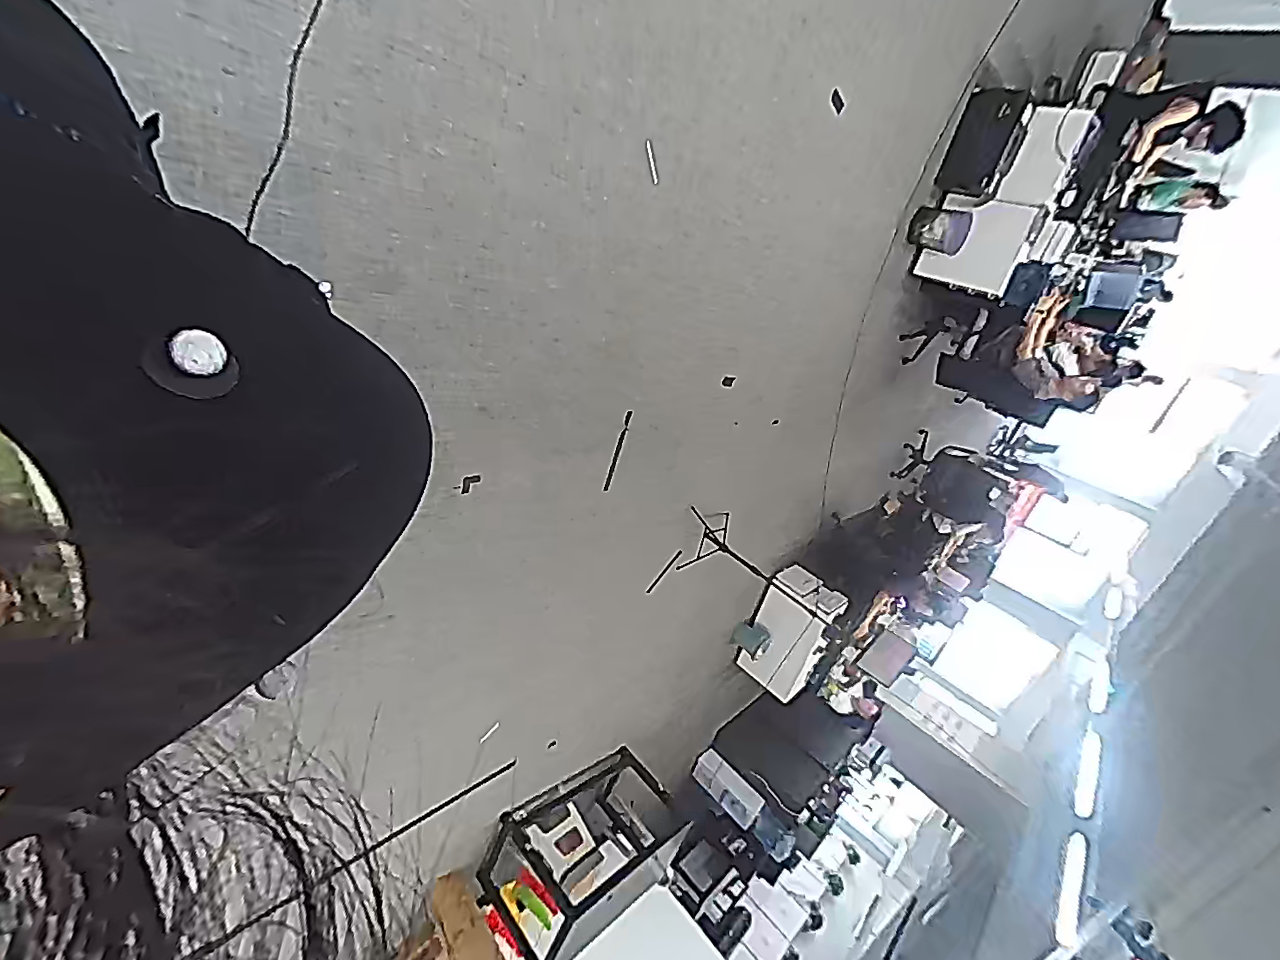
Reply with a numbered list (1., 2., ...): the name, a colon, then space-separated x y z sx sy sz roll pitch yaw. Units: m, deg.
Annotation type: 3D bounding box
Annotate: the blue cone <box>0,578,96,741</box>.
1. blue cone: -1.228 0.379 1.105 0.193 0.380 0.192 -7 122 -49
